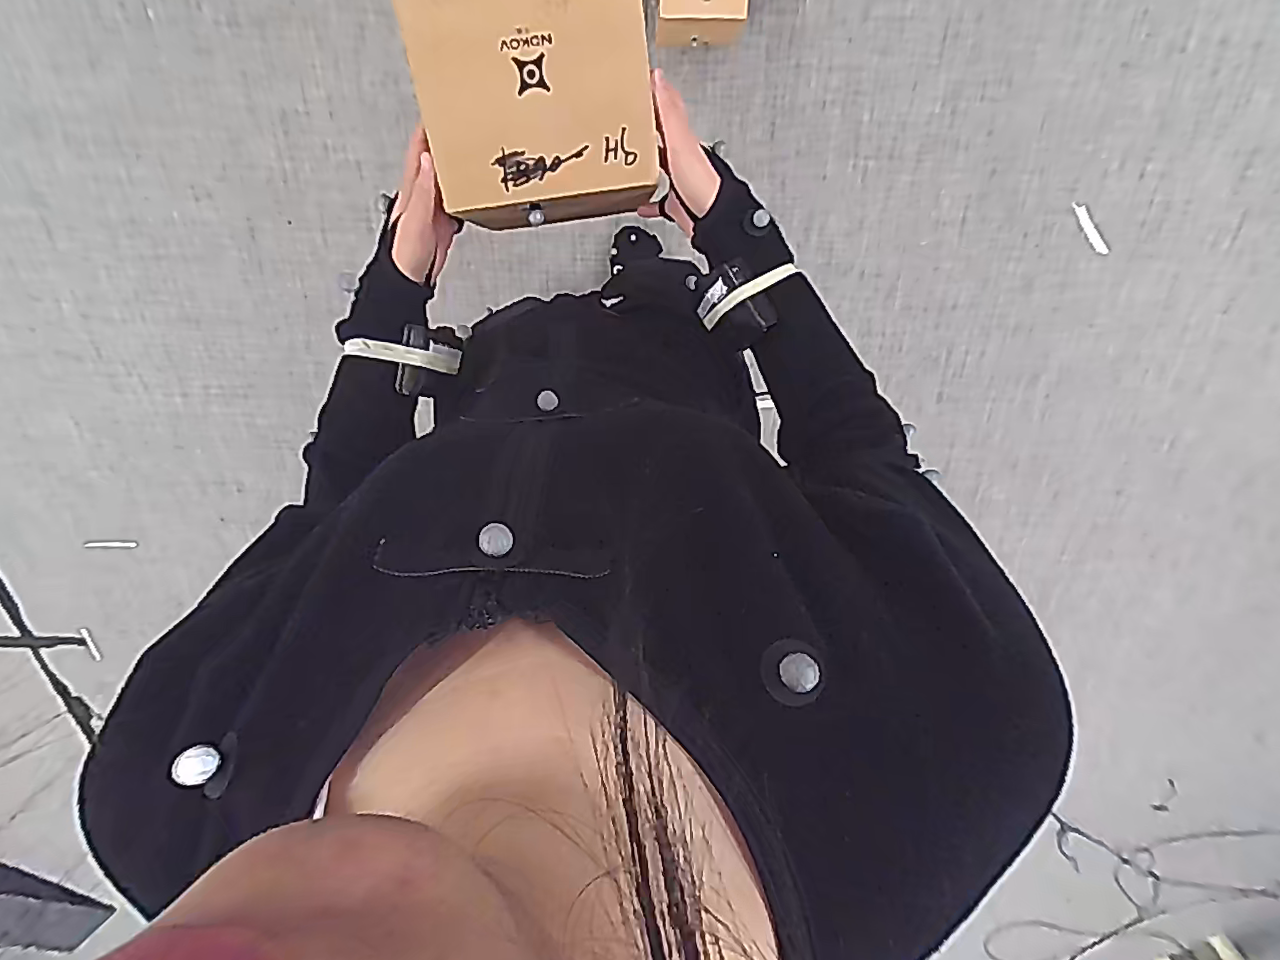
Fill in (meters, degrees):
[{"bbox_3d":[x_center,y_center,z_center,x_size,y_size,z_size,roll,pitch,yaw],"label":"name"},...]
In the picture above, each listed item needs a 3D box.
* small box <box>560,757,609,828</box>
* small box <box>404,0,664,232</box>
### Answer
[{"bbox_3d":[-0.204,1.178,2.039,0.168,0.176,0.179,-1,114,-1],"label":"small box"},{"bbox_3d":[-0.078,-0.317,0.449,0.168,0.176,0.179,-8,111,-1],"label":"small box"}]
